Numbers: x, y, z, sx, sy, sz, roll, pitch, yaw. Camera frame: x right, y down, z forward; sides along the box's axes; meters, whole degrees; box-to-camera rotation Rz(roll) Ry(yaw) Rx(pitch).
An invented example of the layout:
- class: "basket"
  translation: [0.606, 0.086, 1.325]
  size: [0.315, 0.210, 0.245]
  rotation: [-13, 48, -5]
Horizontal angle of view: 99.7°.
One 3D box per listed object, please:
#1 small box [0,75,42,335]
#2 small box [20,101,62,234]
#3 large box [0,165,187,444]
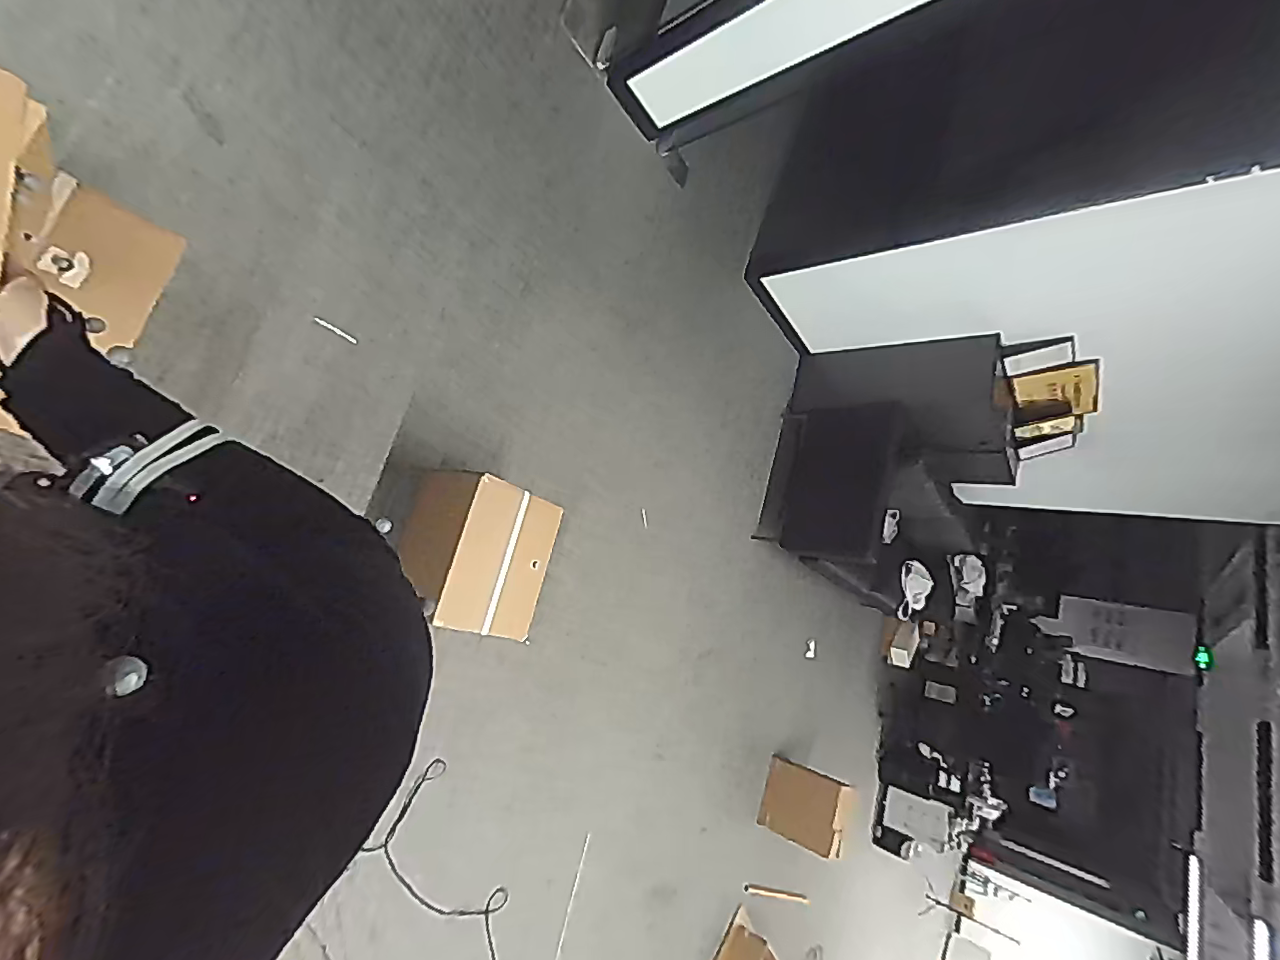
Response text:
- class: "small box"
  translation: [-0.530, -0.191, 0.349]
  size: [0.168, 0.176, 0.179]
  rotation: [10, 85, -52]
- class: "small box"
  translation: [-0.781, -0.362, 0.585]
  size: [0.168, 0.176, 0.179]
  rotation: [28, 73, -43]
- class: "large box"
  translation: [-1.050, -0.299, 0.902]
  size: [0.320, 0.320, 0.408]
  rotation: [29, 70, -46]
